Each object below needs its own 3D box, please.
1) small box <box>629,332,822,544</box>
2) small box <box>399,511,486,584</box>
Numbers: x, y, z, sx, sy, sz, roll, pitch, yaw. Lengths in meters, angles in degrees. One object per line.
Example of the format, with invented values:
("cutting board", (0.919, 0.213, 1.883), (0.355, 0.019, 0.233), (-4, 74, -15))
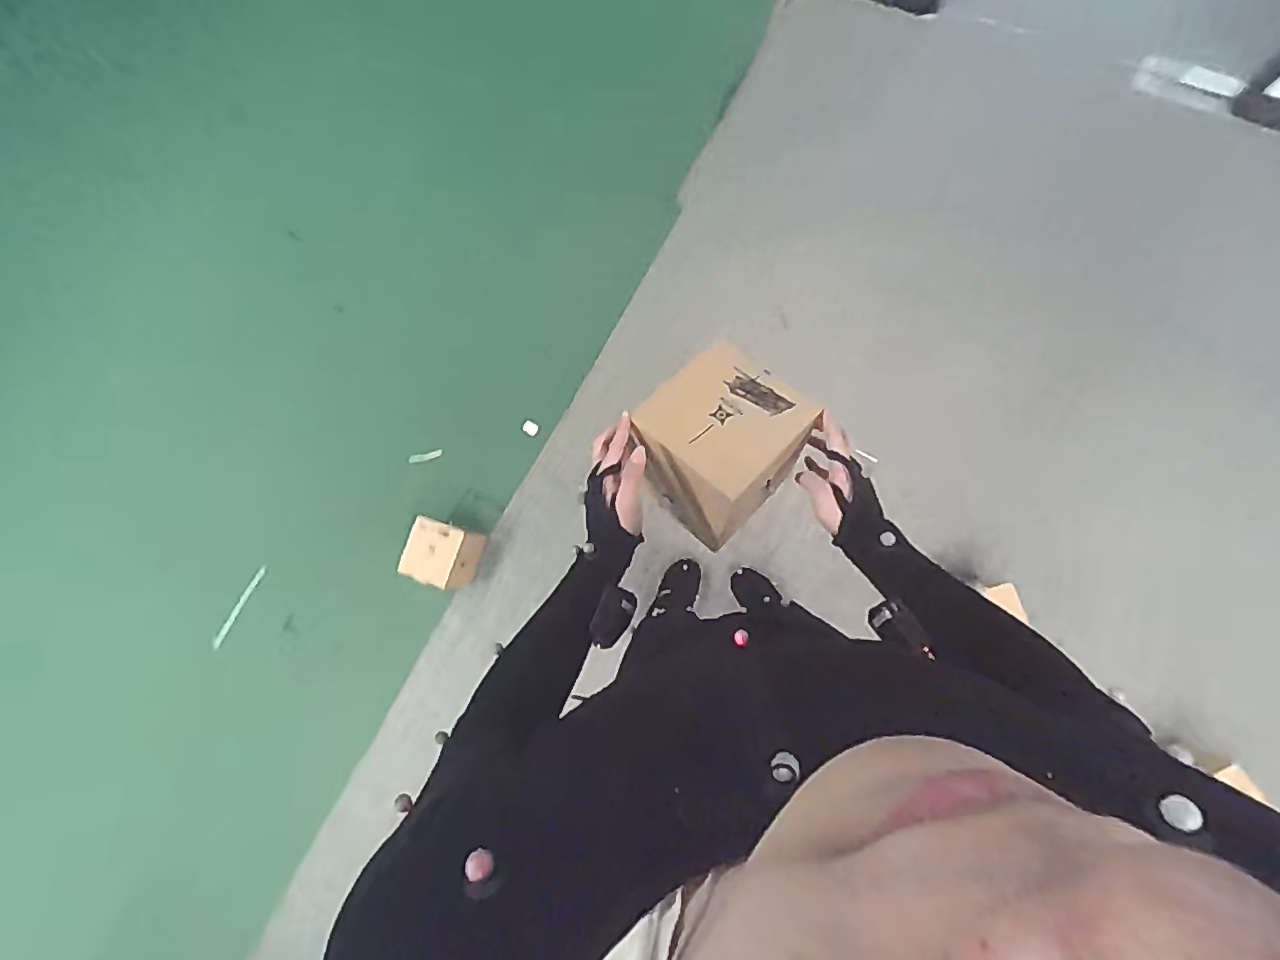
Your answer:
("small box", (0.100, -0.049, 0.707), (0.168, 0.176, 0.179), (40, 70, 19))
("small box", (-0.601, 0.209, 1.669), (0.168, 0.176, 0.179), (19, 85, 10))
